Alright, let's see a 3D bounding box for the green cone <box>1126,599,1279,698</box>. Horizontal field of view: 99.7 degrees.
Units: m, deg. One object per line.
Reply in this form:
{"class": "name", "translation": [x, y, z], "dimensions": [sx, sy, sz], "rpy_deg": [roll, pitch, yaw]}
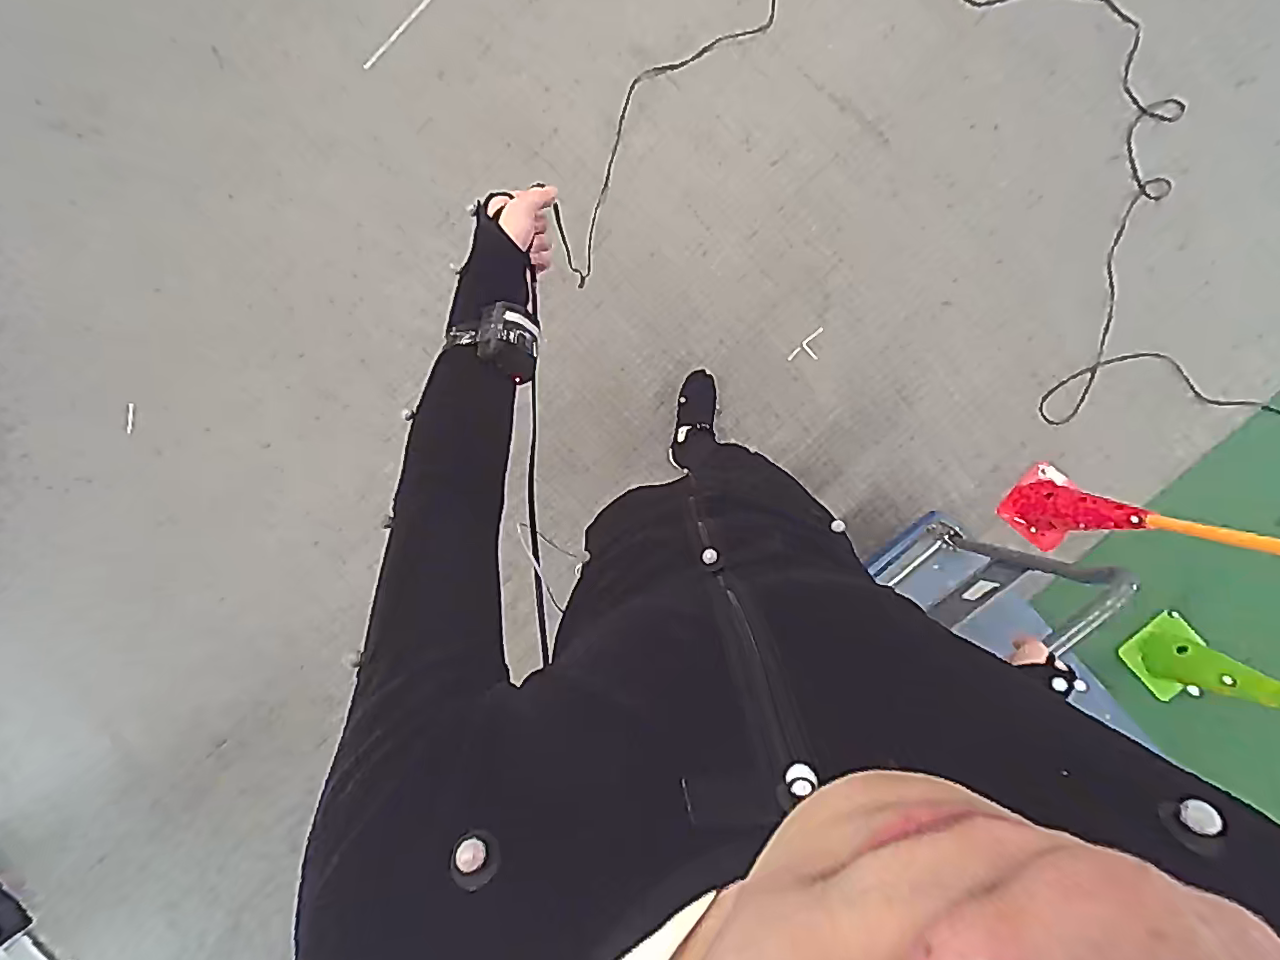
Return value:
{"class": "green cone", "translation": [1.494, 0.469, 1.352], "dimensions": [0.200, 0.368, 0.202], "rpy_deg": [-43, 90, 3]}
